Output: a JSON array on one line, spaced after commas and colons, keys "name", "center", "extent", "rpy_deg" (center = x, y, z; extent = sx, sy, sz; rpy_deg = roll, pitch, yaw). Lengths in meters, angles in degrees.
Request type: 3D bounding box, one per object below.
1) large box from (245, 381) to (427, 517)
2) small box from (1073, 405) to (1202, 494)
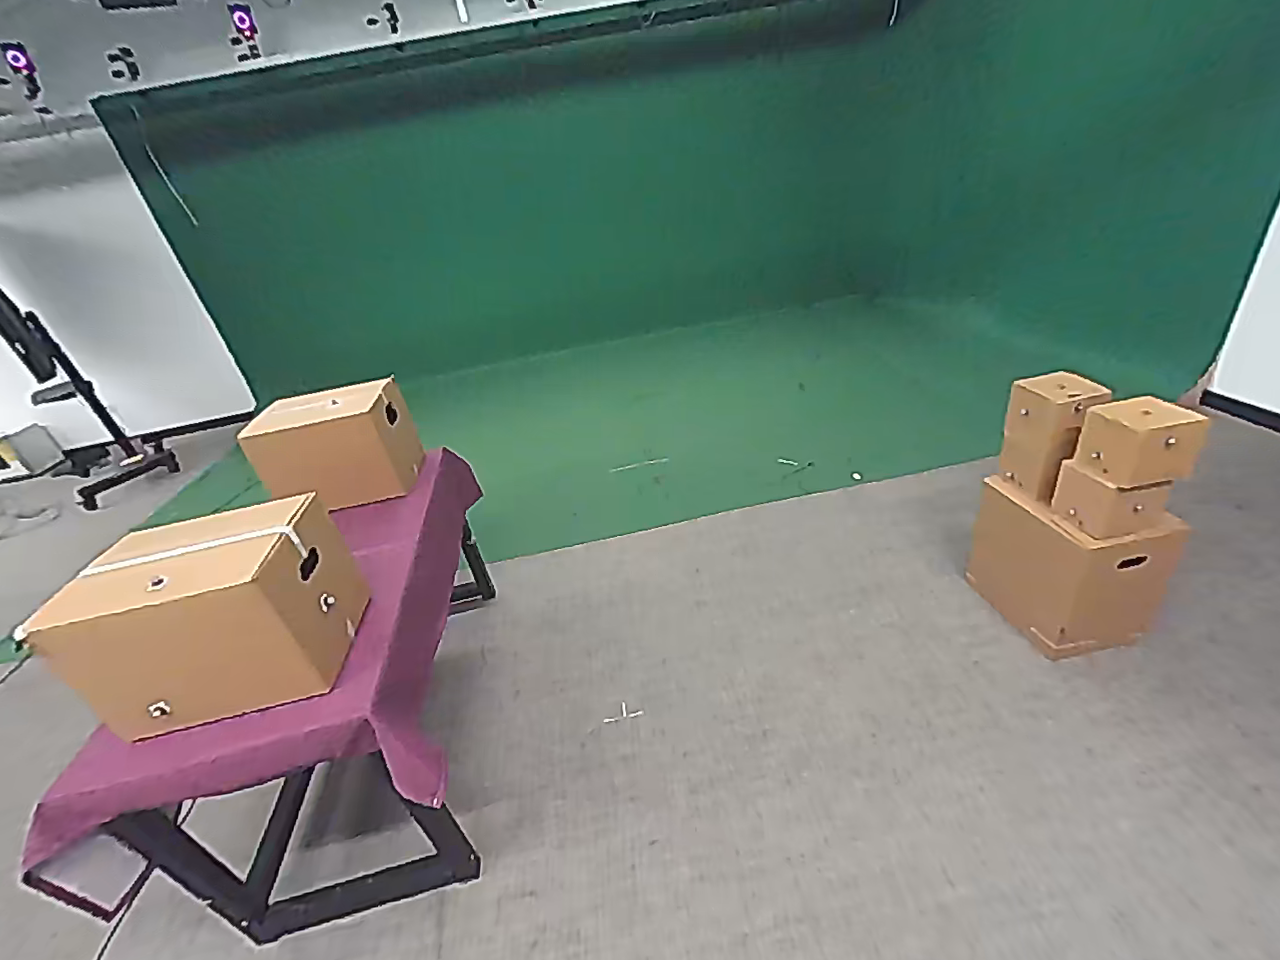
[{"name": "large box", "center": [-0.997, -0.110, 1.835], "extent": [0.408, 0.320, 0.320], "rpy_deg": [-11, 31, -3]}, {"name": "small box", "center": [1.311, -0.082, 1.441], "extent": [0.179, 0.176, 0.168], "rpy_deg": [-10, 28, -1]}]
